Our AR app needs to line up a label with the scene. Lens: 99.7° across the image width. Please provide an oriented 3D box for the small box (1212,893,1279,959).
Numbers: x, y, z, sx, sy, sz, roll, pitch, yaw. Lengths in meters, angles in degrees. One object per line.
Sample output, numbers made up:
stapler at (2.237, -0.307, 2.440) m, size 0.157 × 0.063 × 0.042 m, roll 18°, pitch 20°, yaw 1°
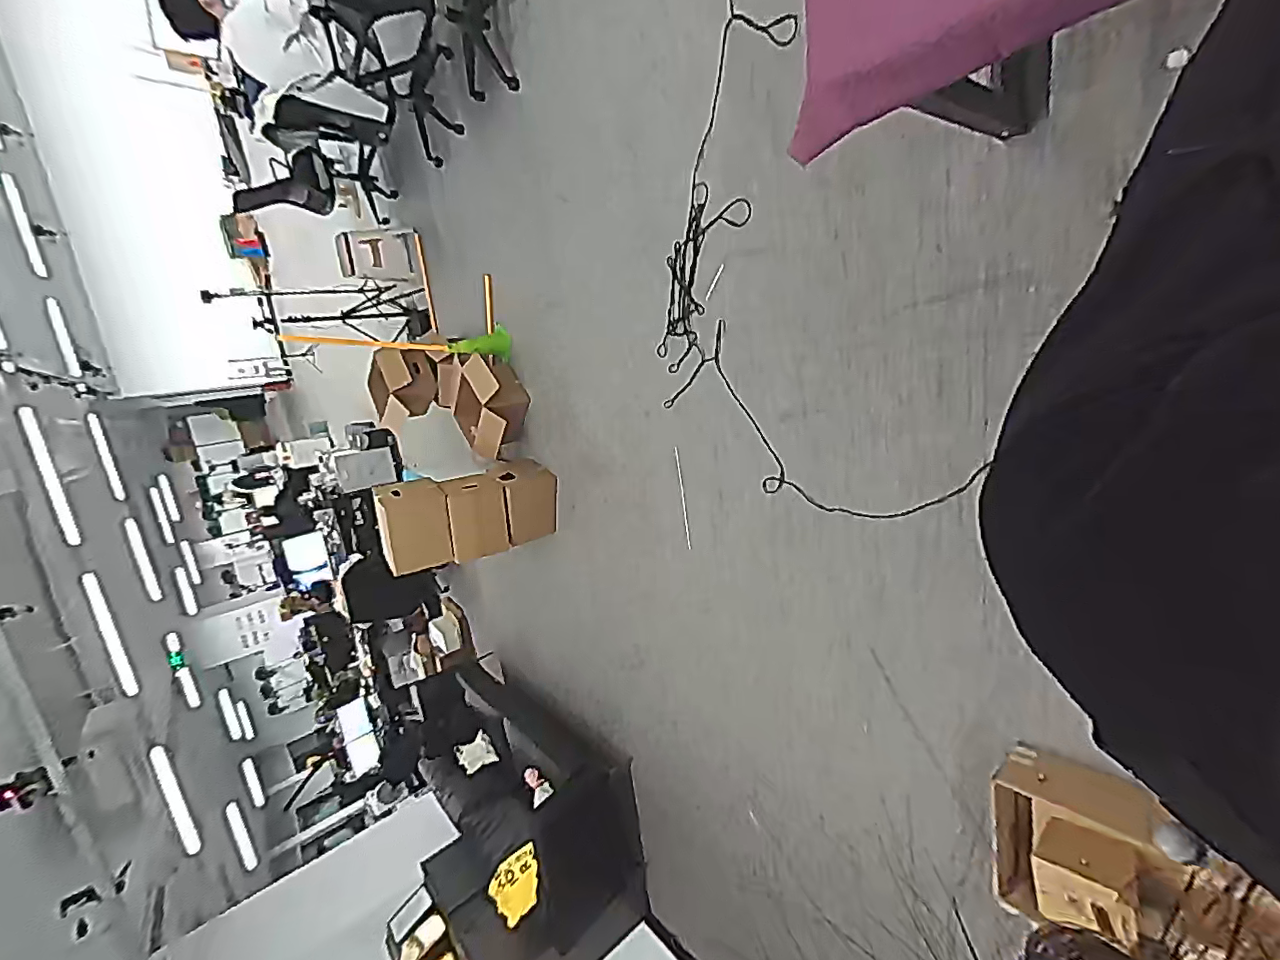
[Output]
small box at (1.315, 1.010, 1.108) m, size 0.179 × 0.176 × 0.168 m, roll 1°, pitch 103°, yaw 55°

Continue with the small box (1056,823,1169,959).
small box at (1.155, 0.986, 1.318) m, size 0.179 × 0.176 × 0.168 m, roll -5°, pitch 99°, yaw 54°
